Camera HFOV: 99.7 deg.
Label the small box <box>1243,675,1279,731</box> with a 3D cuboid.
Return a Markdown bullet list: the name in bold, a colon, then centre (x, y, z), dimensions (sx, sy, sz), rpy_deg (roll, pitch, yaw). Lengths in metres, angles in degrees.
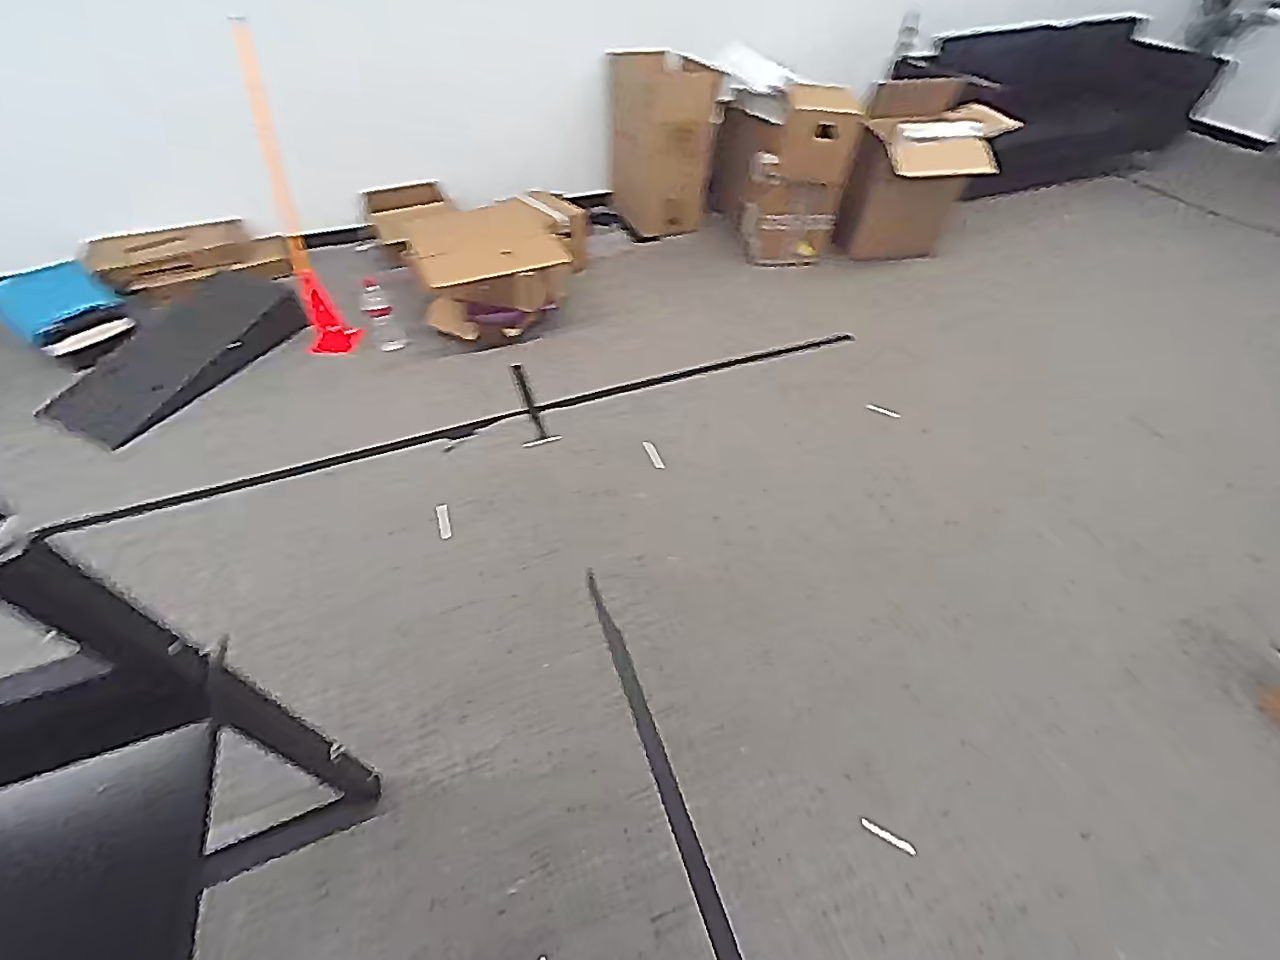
- **small box**: centre (1.786, 0.590, 1.417), dimensions (0.168, 0.176, 0.179), rpy_deg (-12, 48, -12)
